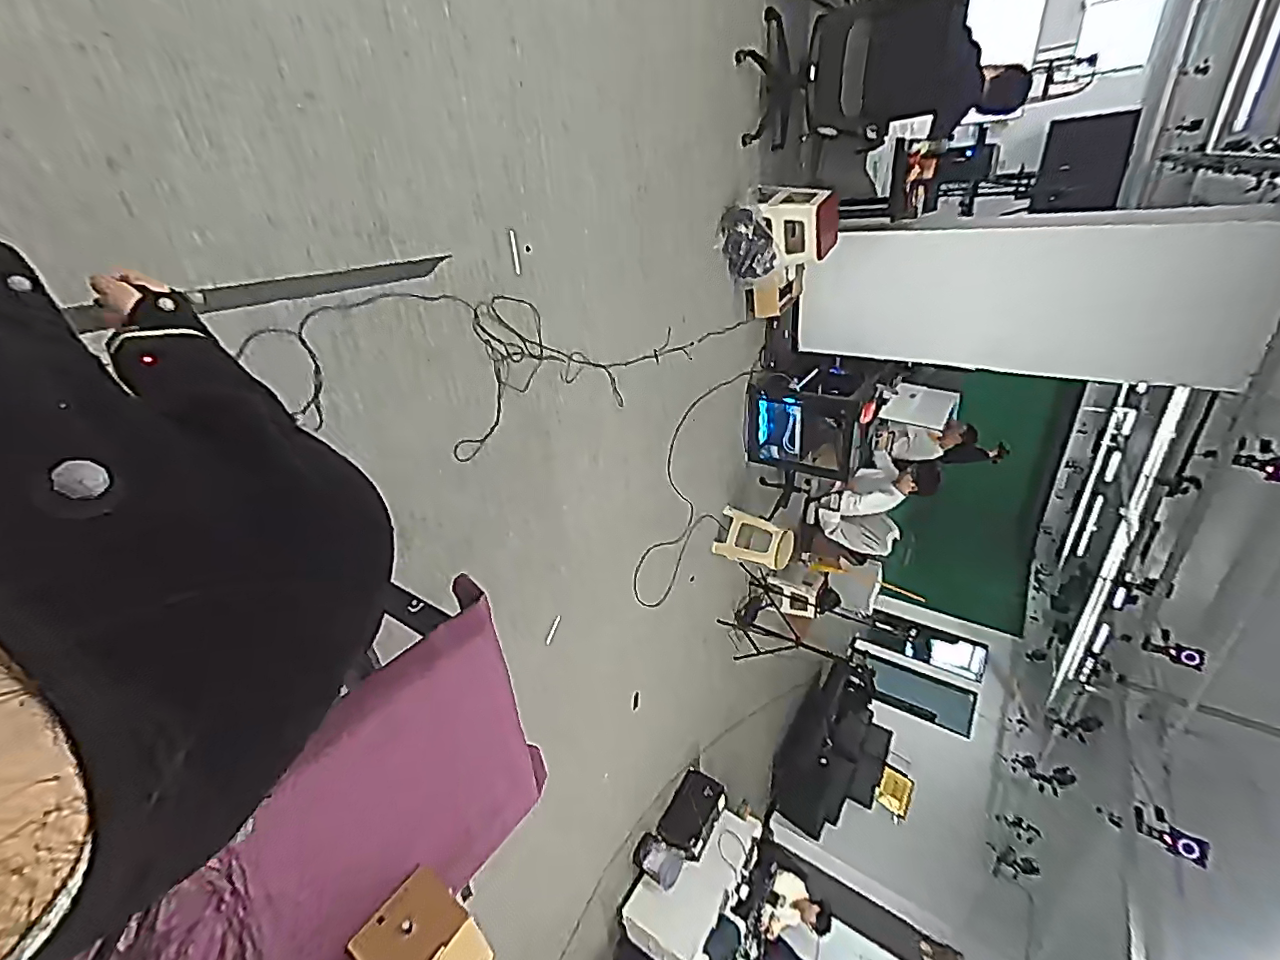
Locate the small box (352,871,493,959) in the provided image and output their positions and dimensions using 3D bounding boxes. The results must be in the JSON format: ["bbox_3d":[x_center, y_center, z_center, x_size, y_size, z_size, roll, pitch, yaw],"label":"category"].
[{"bbox_3d":[-0.421,0.912,1.050,0.168,0.176,0.179,-38,130,-44],"label":"small box"}]
